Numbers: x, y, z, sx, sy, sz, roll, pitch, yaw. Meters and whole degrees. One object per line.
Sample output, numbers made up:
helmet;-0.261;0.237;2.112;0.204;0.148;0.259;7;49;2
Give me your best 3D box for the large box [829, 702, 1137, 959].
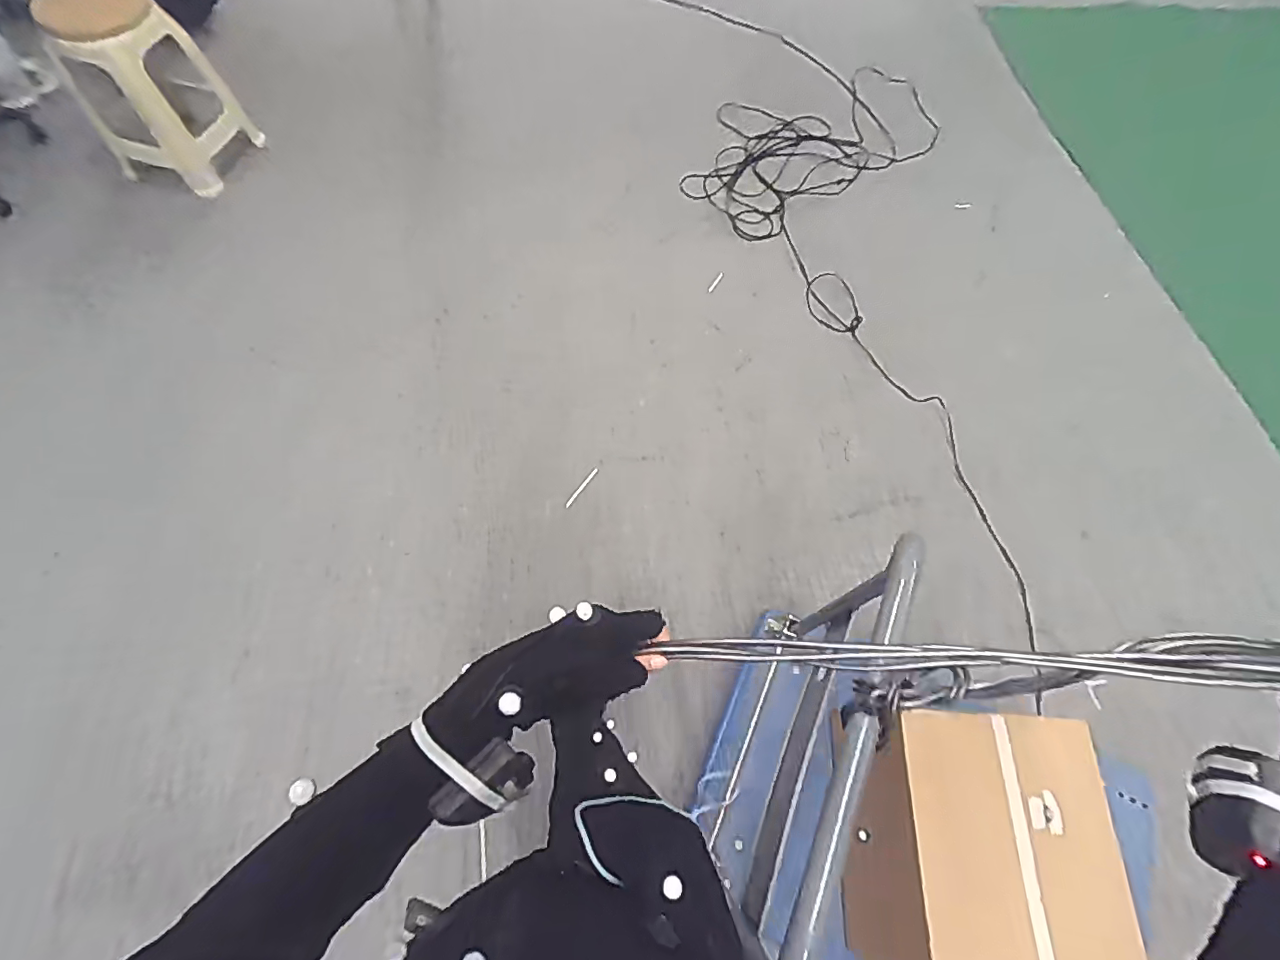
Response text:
large box;0.551;0.621;0.947;0.320;0.320;0.408;5;65;-2
